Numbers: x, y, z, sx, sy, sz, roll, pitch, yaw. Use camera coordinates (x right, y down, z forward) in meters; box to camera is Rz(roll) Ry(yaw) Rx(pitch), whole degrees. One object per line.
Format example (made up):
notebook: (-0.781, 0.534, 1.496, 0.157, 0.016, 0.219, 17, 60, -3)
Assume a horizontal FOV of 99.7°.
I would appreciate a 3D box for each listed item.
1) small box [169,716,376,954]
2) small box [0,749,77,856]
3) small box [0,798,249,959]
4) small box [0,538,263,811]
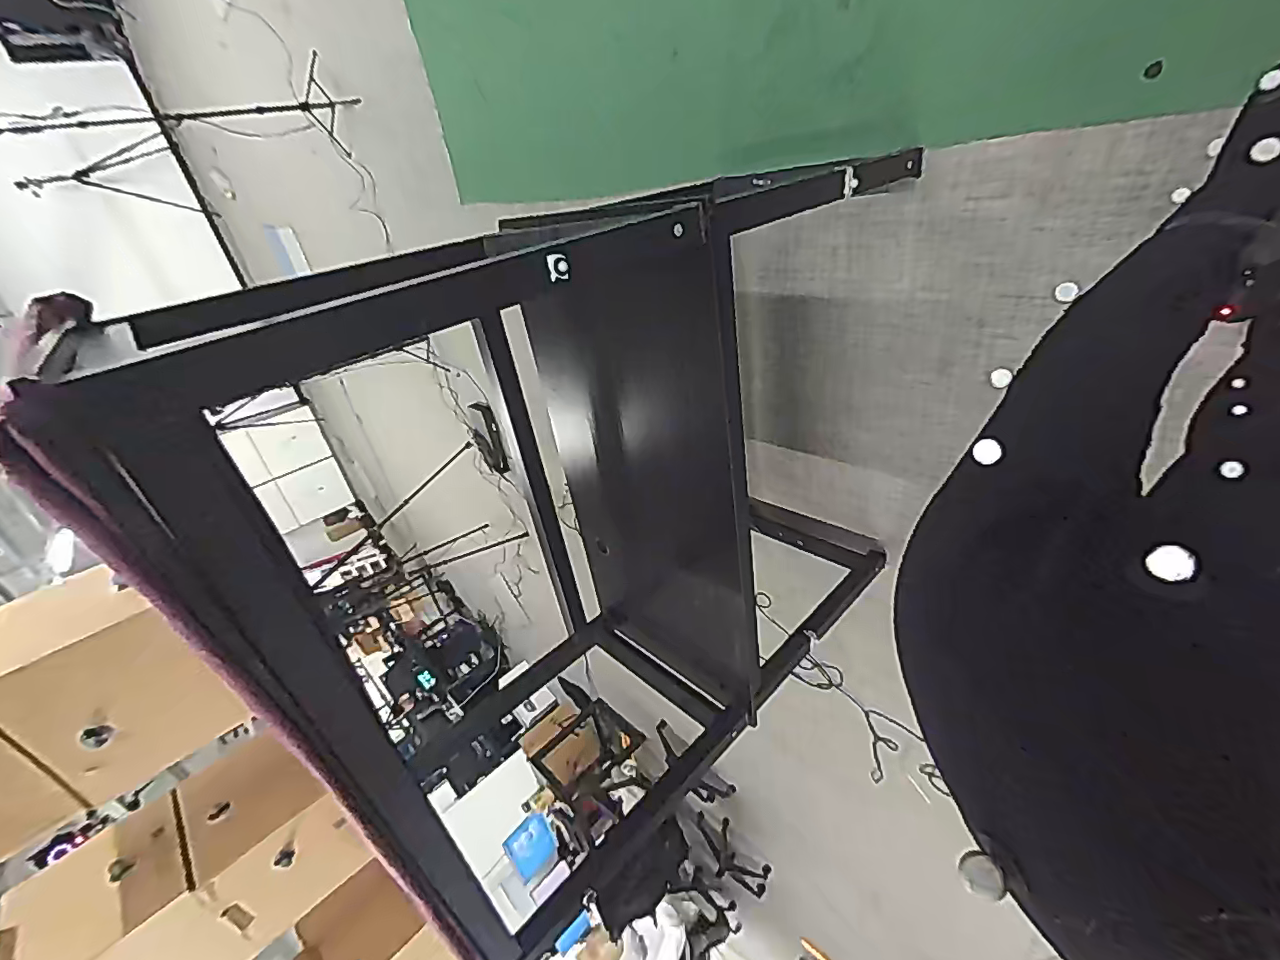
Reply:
small box: (-0.485, 0.463, 0.731, 0.179, 0.176, 0.168, 24, 133, 43)
small box: (-0.667, 0.265, 0.504, 0.168, 0.176, 0.179, 24, 134, 45)
small box: (-0.604, 0.535, 0.643, 0.168, 0.176, 0.179, 23, 132, 41)
small box: (-0.543, 0.194, 0.582, 0.168, 0.176, 0.179, 23, 134, 45)
